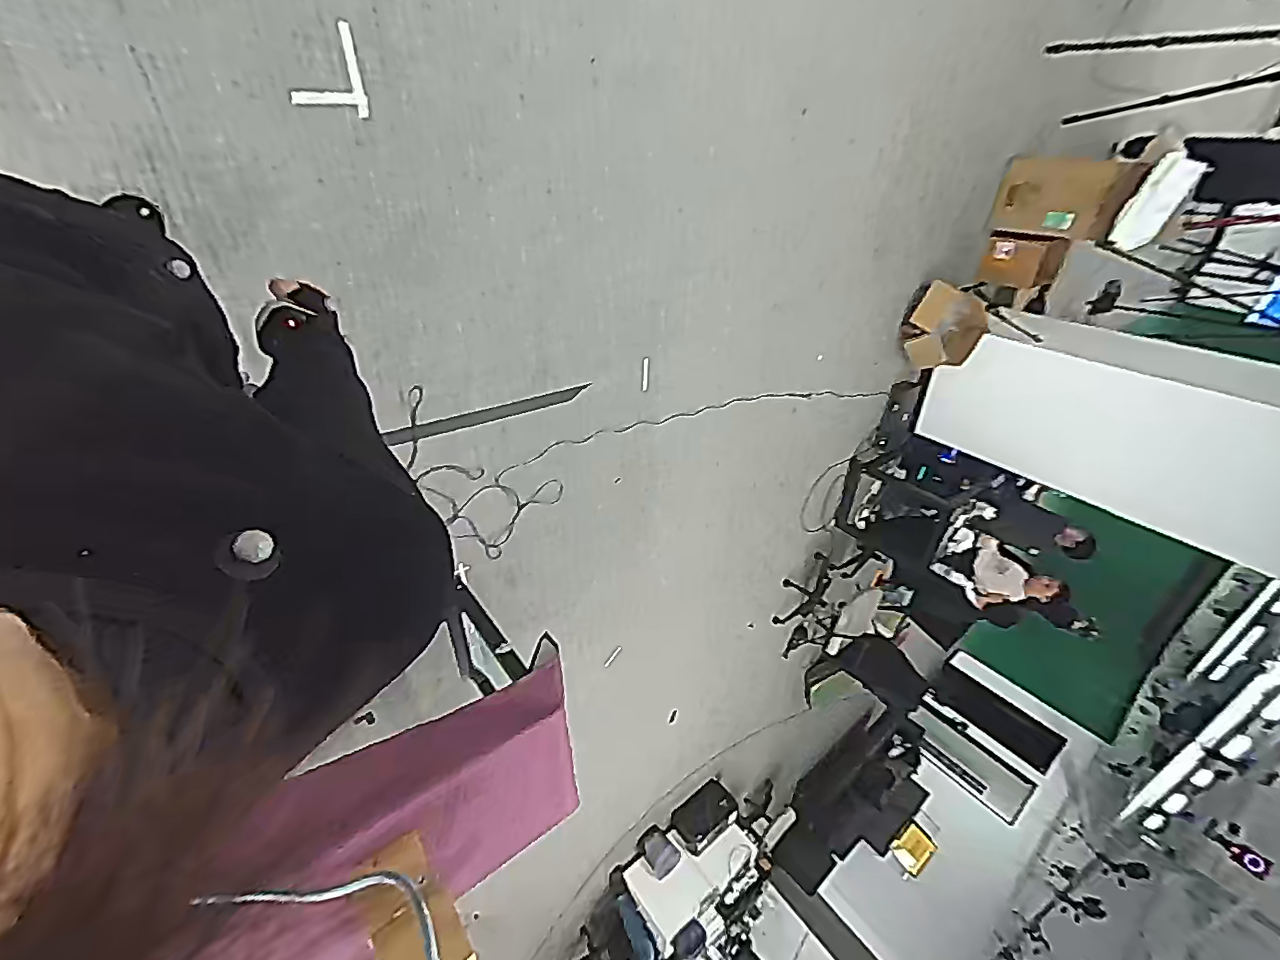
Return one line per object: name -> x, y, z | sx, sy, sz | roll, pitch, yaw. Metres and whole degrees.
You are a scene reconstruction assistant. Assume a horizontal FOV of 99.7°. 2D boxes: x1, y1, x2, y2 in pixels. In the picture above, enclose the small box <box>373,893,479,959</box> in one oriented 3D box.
small box -> -0.481, 1.101, 1.230 | 0.179, 0.176, 0.168 | -19, 128, -34
